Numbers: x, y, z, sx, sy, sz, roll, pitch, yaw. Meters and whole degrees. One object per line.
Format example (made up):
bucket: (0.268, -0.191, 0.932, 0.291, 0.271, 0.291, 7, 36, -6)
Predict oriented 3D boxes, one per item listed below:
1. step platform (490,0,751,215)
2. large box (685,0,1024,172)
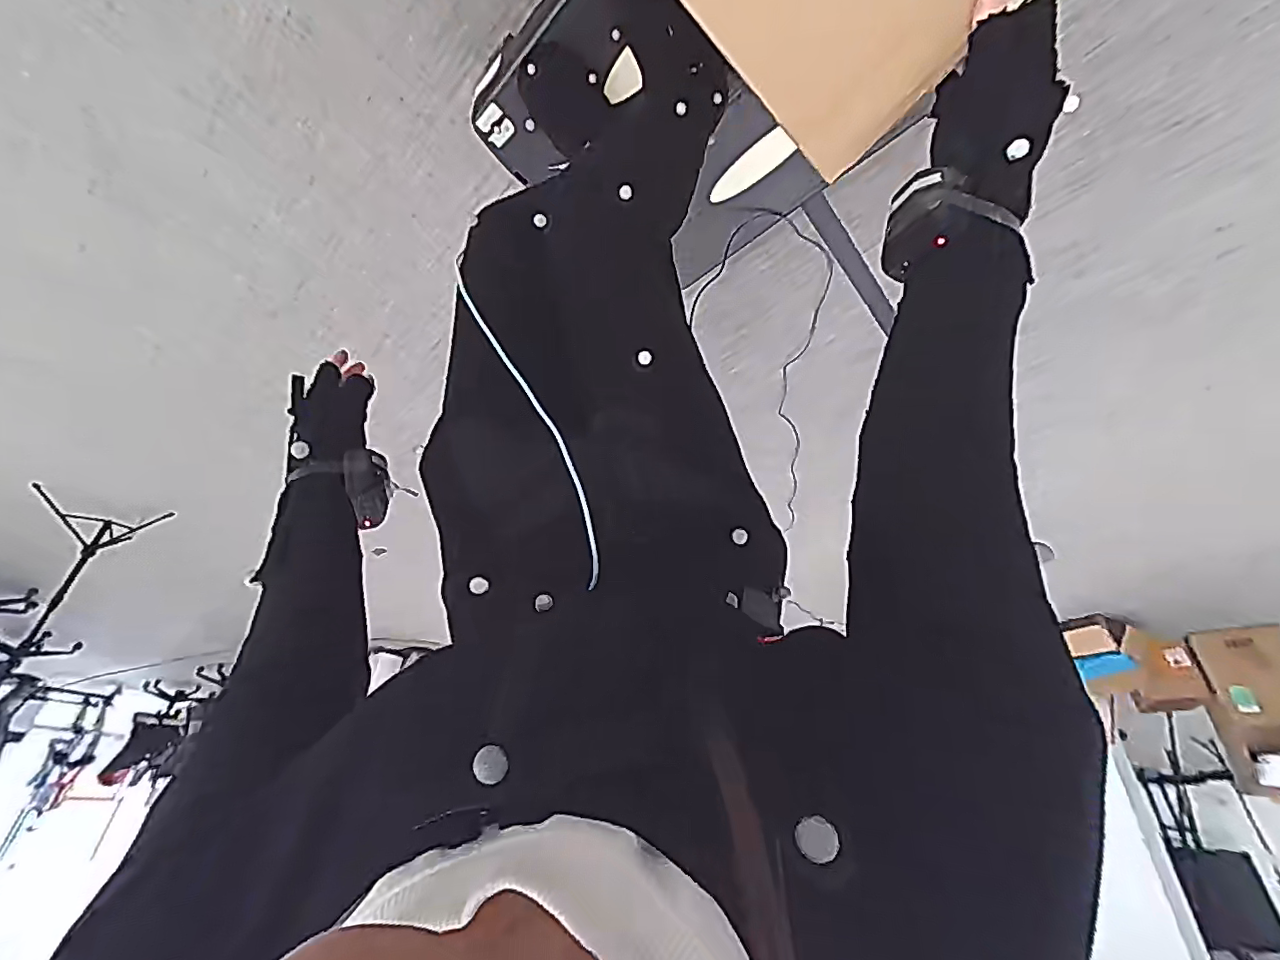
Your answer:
step platform: (0.063, -0.744, 0.828, 0.684, 0.204, 0.286, -27, 136, 36)
large box: (0.177, -0.557, 0.477, 0.408, 0.320, 0.320, 45, 126, -10)
